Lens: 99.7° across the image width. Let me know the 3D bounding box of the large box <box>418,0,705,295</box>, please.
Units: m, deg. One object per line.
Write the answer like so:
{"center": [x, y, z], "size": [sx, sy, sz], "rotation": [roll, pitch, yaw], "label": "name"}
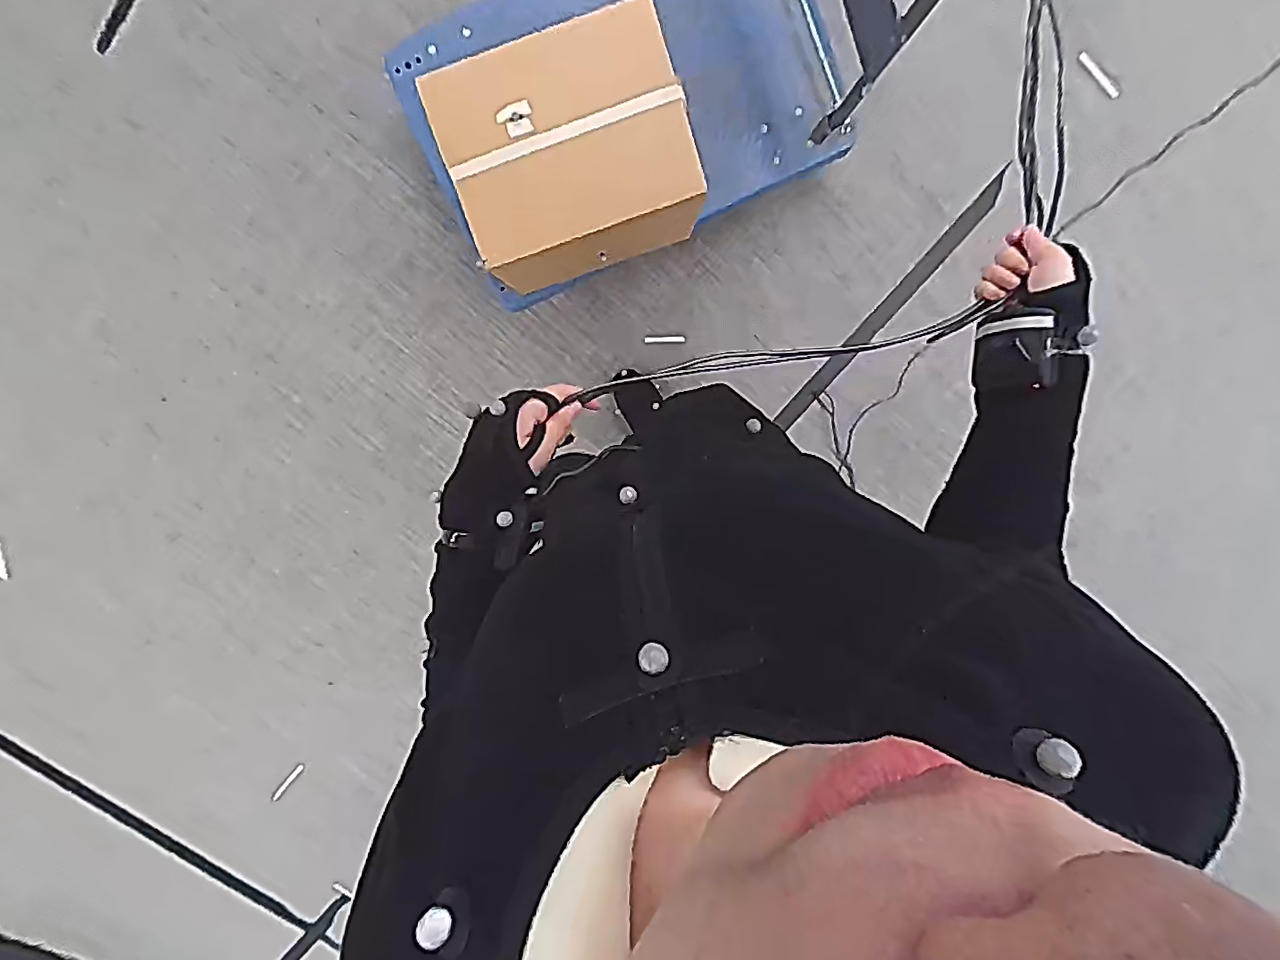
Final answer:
{"center": [-0.125, -0.587, 1.033], "size": [0.408, 0.320, 0.320], "rotation": [-18, 100, 3], "label": "large box"}
